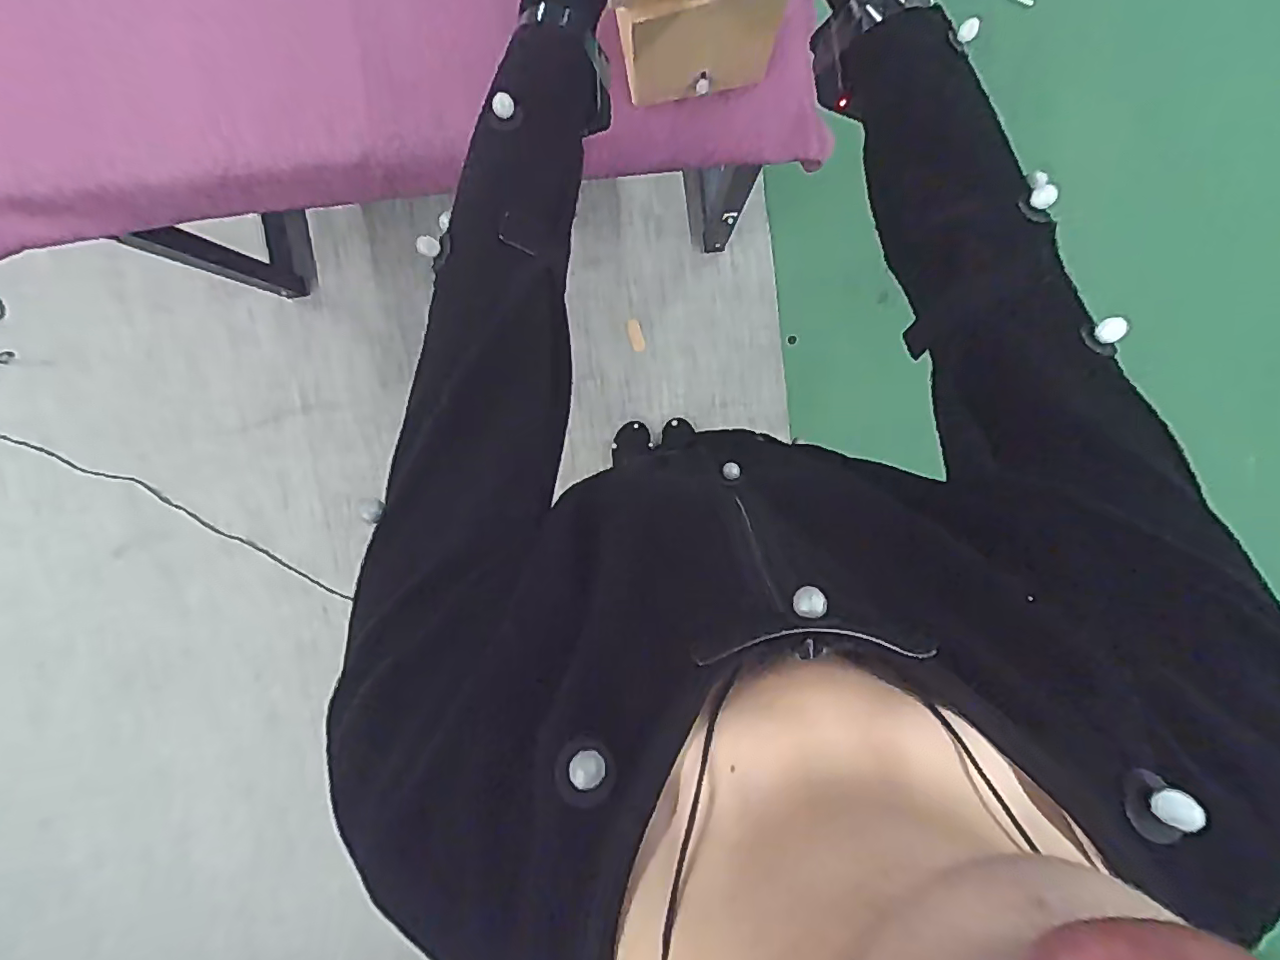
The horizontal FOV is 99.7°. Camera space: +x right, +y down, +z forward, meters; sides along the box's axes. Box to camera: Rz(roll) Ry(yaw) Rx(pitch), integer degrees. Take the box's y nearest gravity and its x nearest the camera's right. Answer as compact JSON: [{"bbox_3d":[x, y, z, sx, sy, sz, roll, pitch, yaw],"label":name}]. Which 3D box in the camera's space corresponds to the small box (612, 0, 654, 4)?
[{"bbox_3d":[0.045,-0.563,0.466,0.179,0.176,0.168,-4,97,3],"label":"small box"}]

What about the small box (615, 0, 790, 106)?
[{"bbox_3d":[0.061,-0.577,0.628,0.179,0.176,0.168,-10,97,3],"label":"small box"}]
